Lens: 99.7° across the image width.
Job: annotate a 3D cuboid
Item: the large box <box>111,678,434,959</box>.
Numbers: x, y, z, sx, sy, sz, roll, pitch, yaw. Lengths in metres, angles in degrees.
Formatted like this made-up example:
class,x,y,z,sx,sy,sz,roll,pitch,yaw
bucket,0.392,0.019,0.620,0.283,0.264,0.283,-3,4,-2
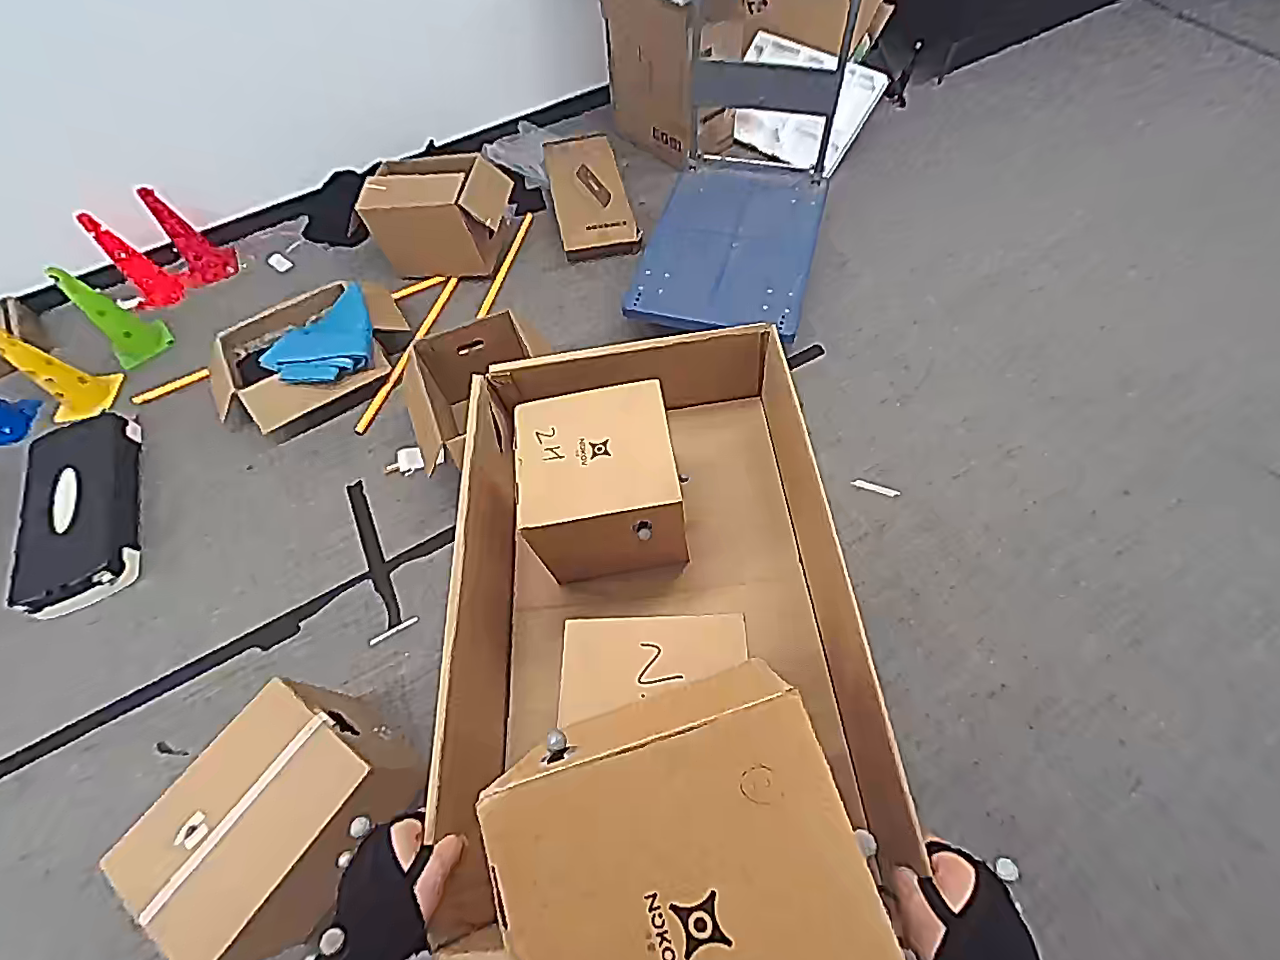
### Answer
class,x,y,z,sx,sy,sz,roll,pitch,yaw
large box,-0.732,0.701,1.149,0.320,0.320,0.408,29,67,20

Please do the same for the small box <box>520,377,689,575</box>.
class,x,y,z,sx,sy,sz,roll,pitch,yaw
small box,-0.038,0.002,0.660,0.179,0.176,0.168,-10,59,2
